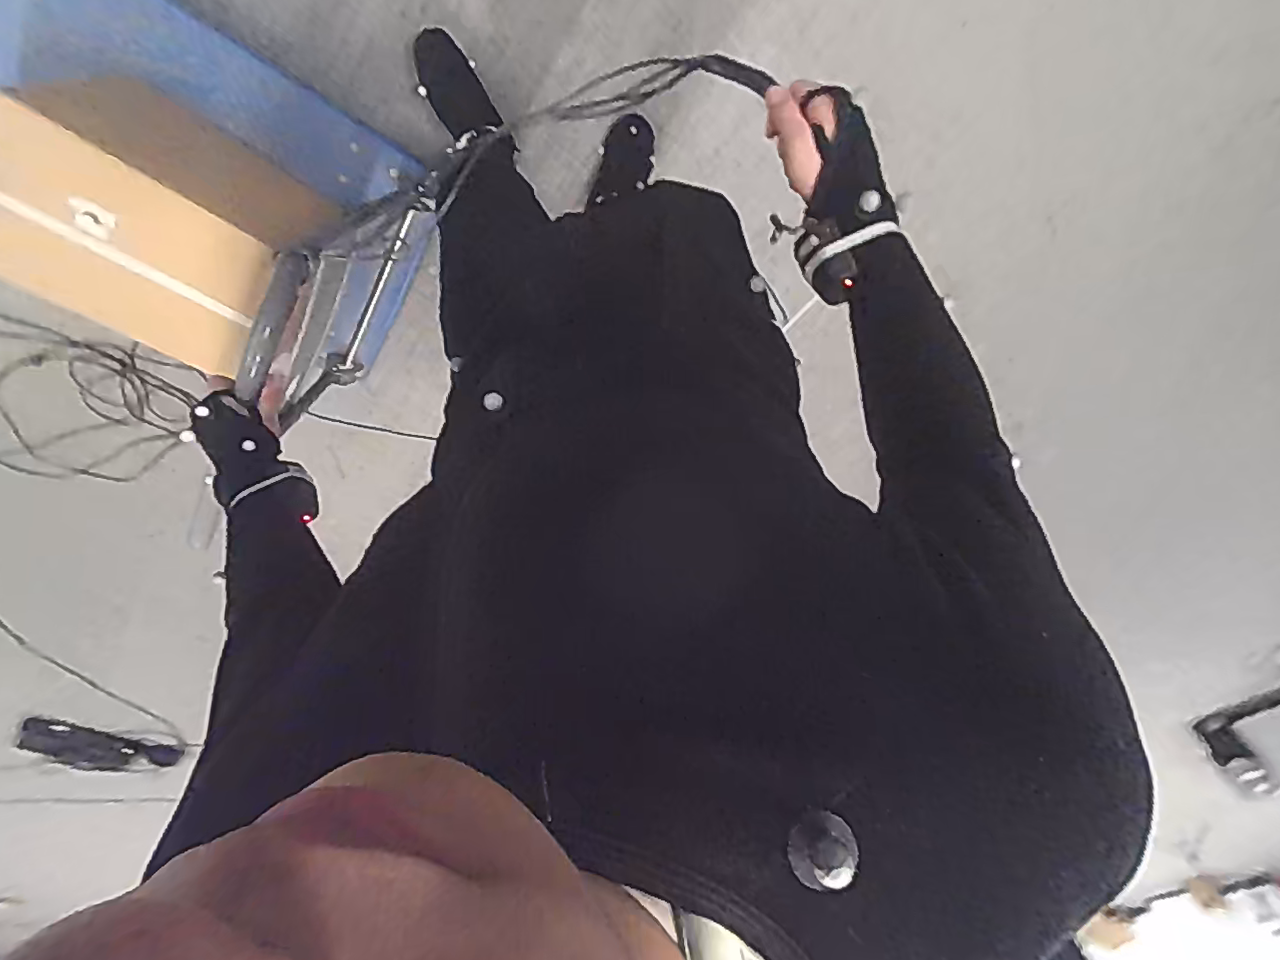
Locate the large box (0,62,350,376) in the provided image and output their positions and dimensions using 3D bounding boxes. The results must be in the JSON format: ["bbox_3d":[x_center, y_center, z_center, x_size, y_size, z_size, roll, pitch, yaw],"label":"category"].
[{"bbox_3d":[-0.838,-0.474,1.009,0.408,0.320,0.320,29,122,-26],"label":"large box"}]
